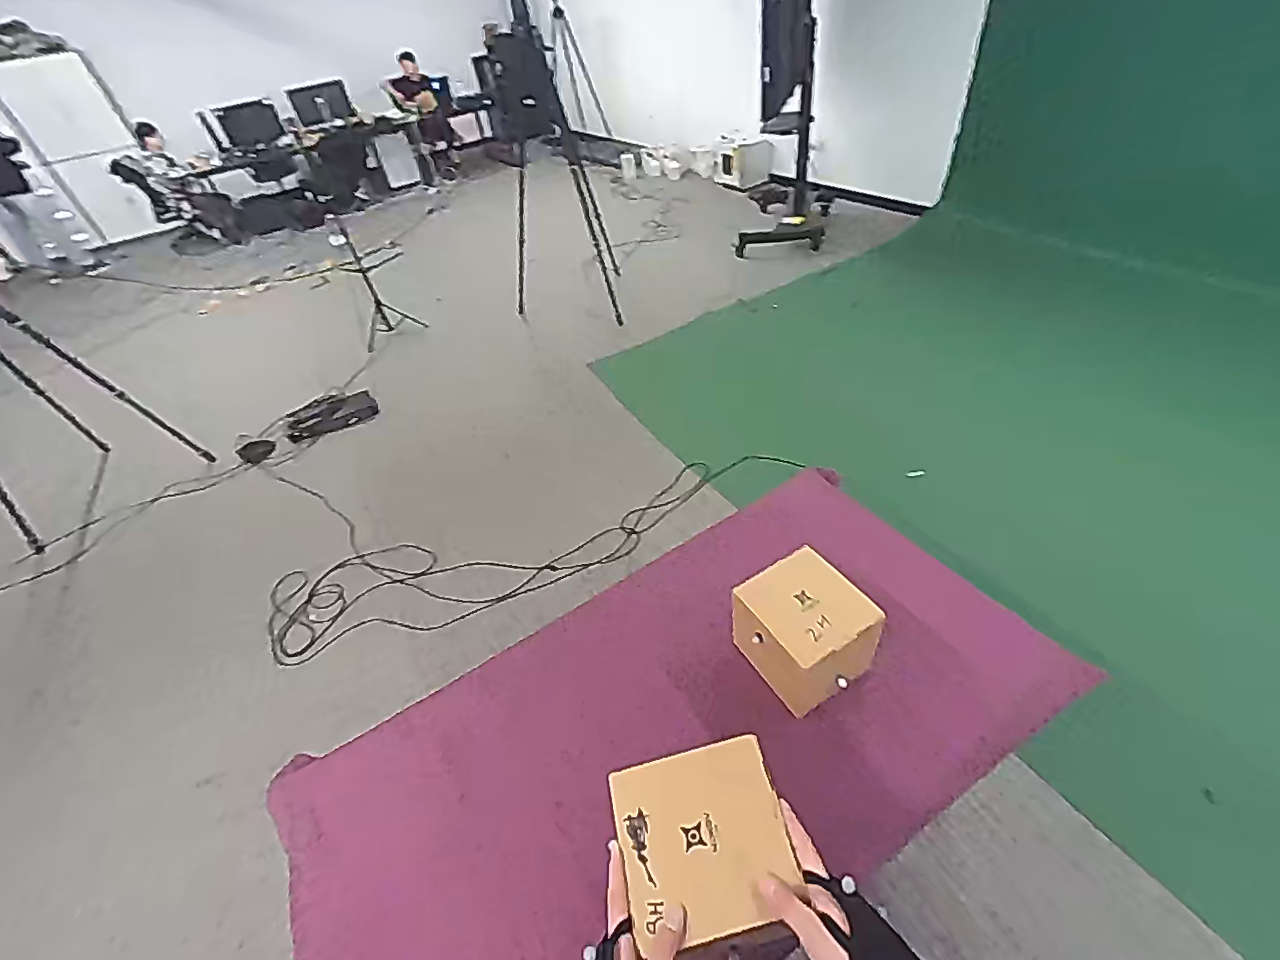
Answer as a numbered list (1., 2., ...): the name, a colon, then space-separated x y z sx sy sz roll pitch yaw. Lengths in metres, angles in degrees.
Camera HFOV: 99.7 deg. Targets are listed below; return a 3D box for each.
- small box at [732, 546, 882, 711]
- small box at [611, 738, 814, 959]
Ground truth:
1. small box: 0.272 0.251 0.918 0.168 0.176 0.179 -26 45 -16
2. small box: 0.075 0.421 0.611 0.179 0.176 0.168 -14 44 -2
